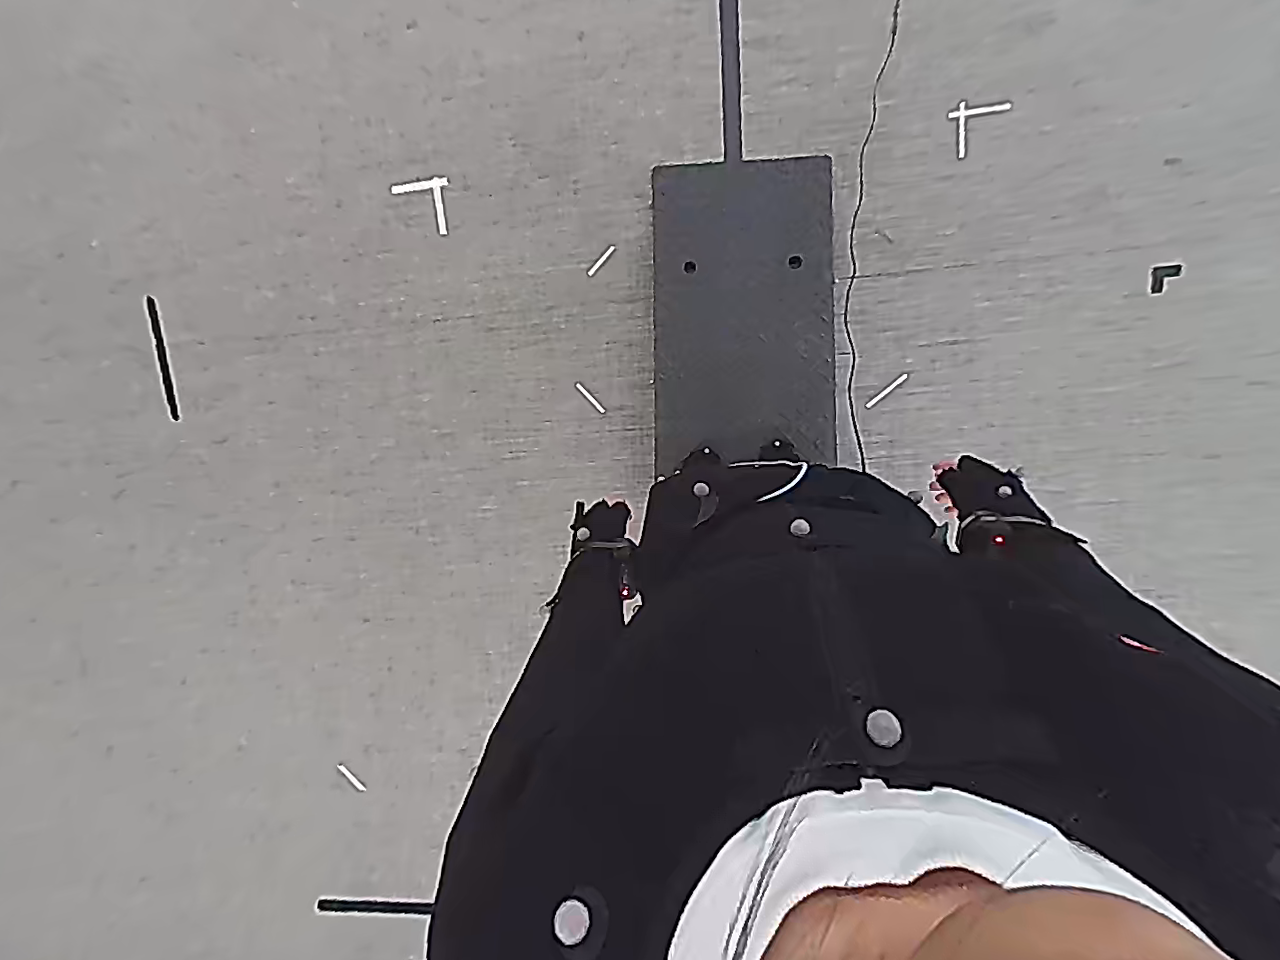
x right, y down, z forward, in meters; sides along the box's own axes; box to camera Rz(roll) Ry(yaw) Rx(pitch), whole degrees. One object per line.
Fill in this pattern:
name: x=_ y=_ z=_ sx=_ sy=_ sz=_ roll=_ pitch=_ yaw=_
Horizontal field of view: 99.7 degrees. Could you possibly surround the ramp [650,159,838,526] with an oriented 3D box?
ramp: x=0.277 y=-0.374 z=1.483 sx=0.509 sy=0.206 sz=0.991 roll=-2 pitch=97 yaw=7
